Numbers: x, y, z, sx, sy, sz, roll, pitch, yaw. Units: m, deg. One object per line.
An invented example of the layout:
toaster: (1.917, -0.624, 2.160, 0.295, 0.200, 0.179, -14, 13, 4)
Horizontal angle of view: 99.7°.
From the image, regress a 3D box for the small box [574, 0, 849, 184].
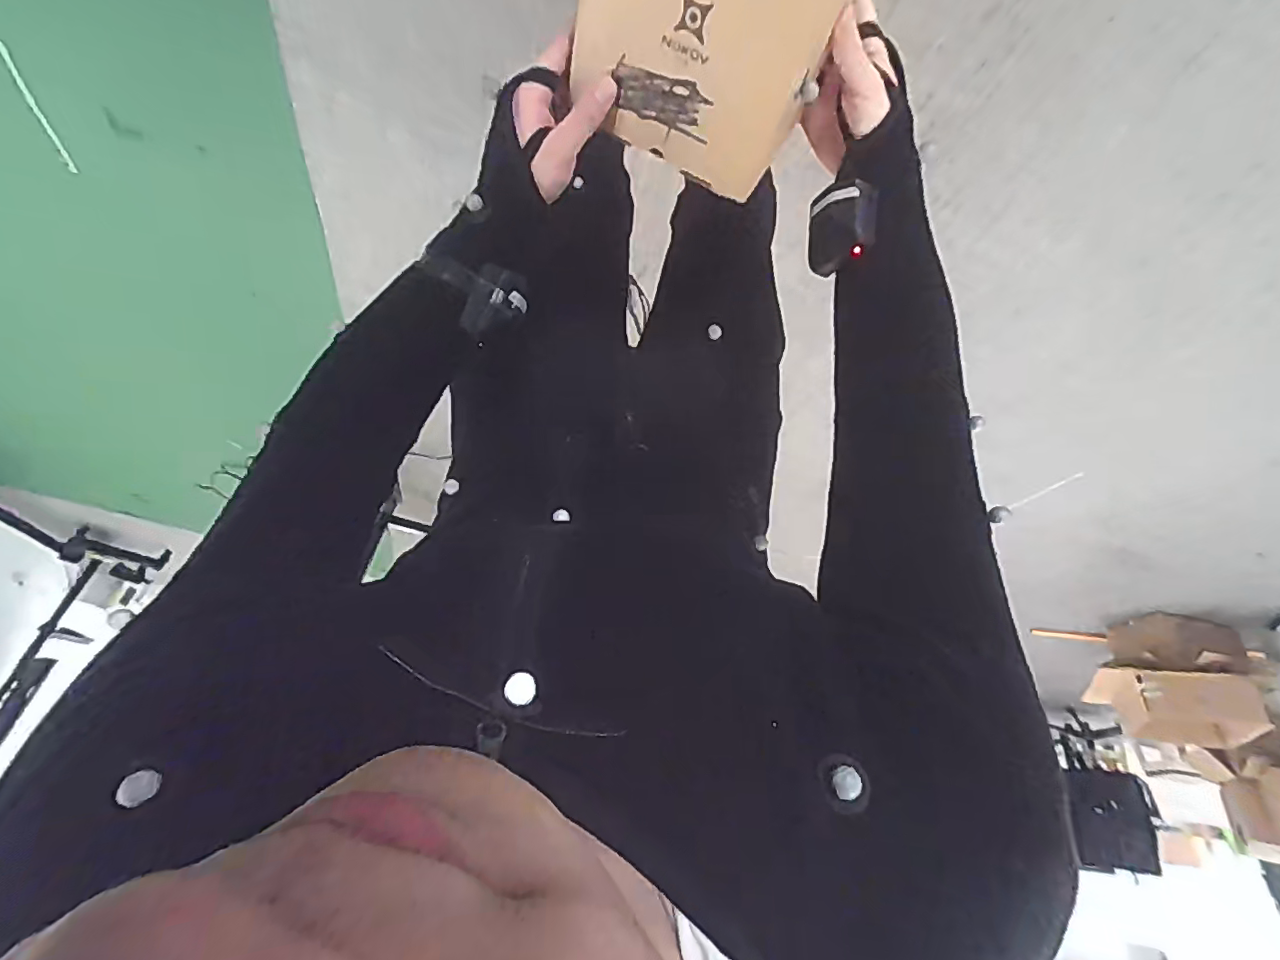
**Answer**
small box: (0.069, -0.376, 0.412, 0.168, 0.176, 0.179, 27, 145, 1)
